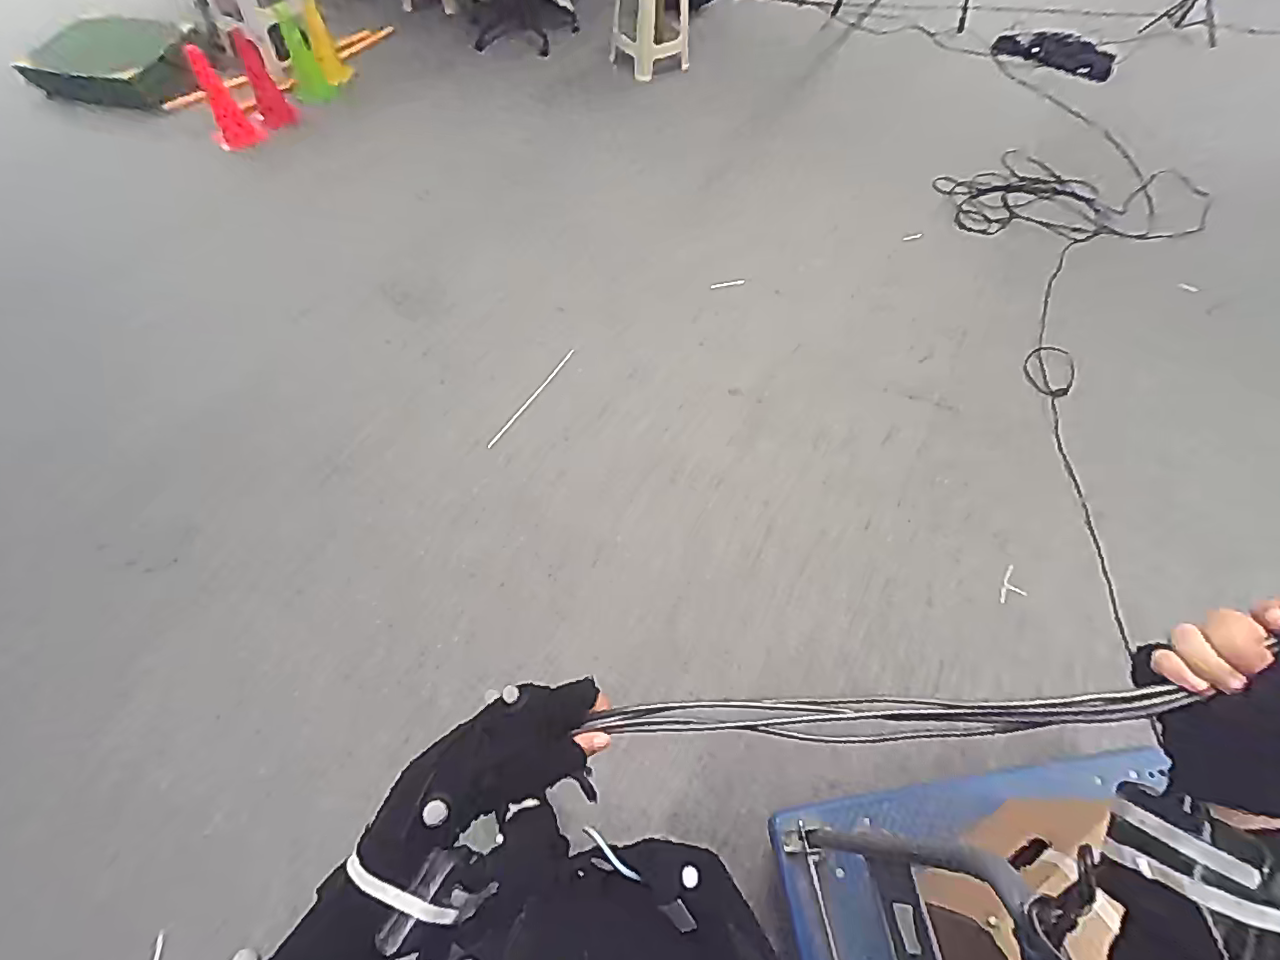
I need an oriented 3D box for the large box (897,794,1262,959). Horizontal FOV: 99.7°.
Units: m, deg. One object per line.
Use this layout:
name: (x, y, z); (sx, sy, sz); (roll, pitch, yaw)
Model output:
large box: (0.708, 0.777, 0.846); (0.320, 0.320, 0.408); (-26, 62, -16)
